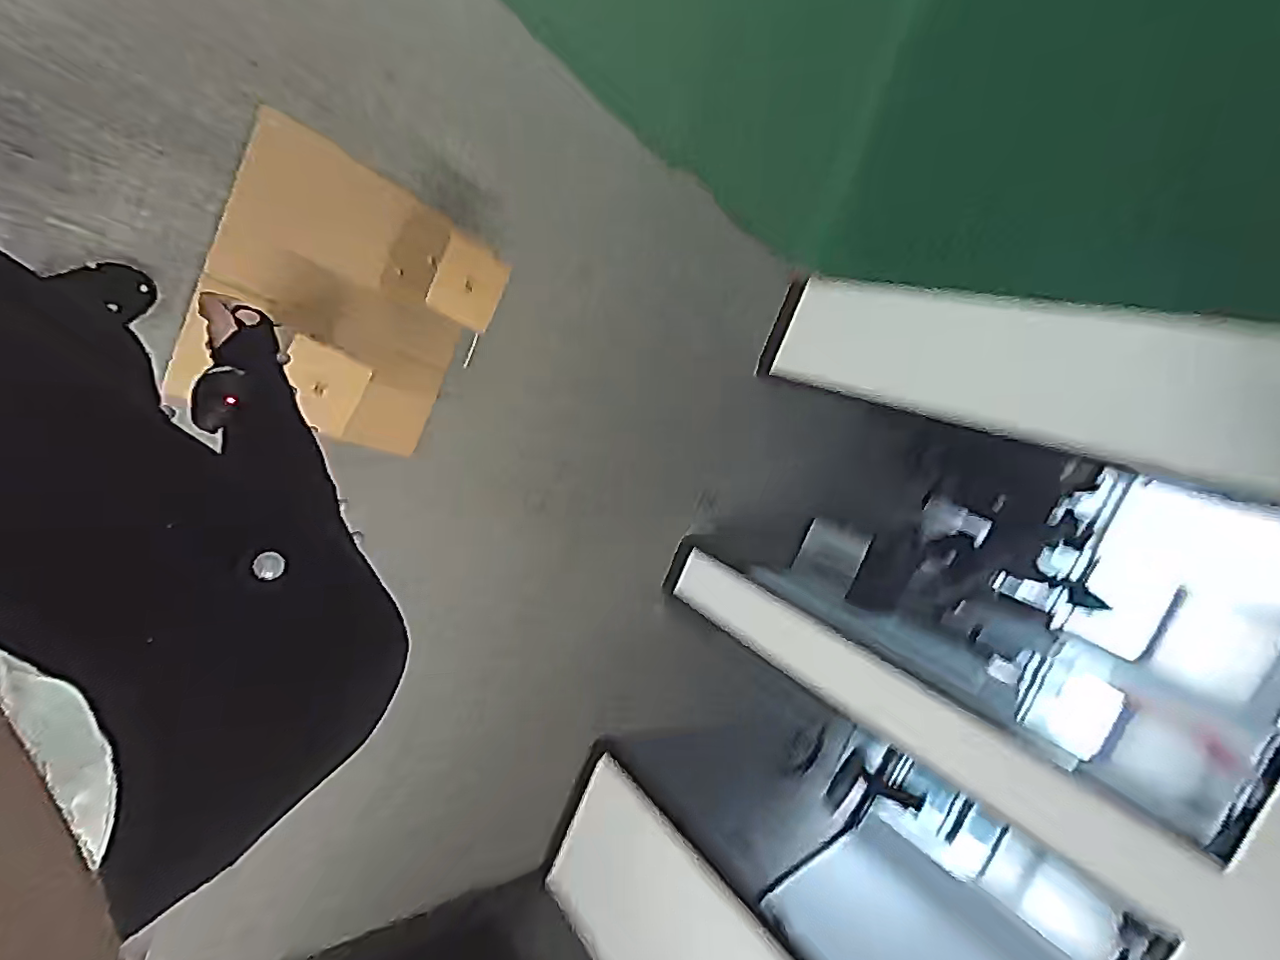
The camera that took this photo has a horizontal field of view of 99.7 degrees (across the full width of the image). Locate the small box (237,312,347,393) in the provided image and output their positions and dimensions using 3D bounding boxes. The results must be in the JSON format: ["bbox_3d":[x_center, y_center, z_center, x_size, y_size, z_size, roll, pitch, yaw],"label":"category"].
[{"bbox_3d":[-0.854,-0.287,1.320,0.168,0.176,0.179,24,93,-48],"label":"small box"}]

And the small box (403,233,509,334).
[{"bbox_3d":[-0.464,-0.490,1.346,0.168,0.176,0.179,22,95,-47],"label":"small box"}]

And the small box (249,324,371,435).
[{"bbox_3d":[-0.745,-0.229,1.213,0.168,0.176,0.179,28,90,-47],"label":"small box"}]
